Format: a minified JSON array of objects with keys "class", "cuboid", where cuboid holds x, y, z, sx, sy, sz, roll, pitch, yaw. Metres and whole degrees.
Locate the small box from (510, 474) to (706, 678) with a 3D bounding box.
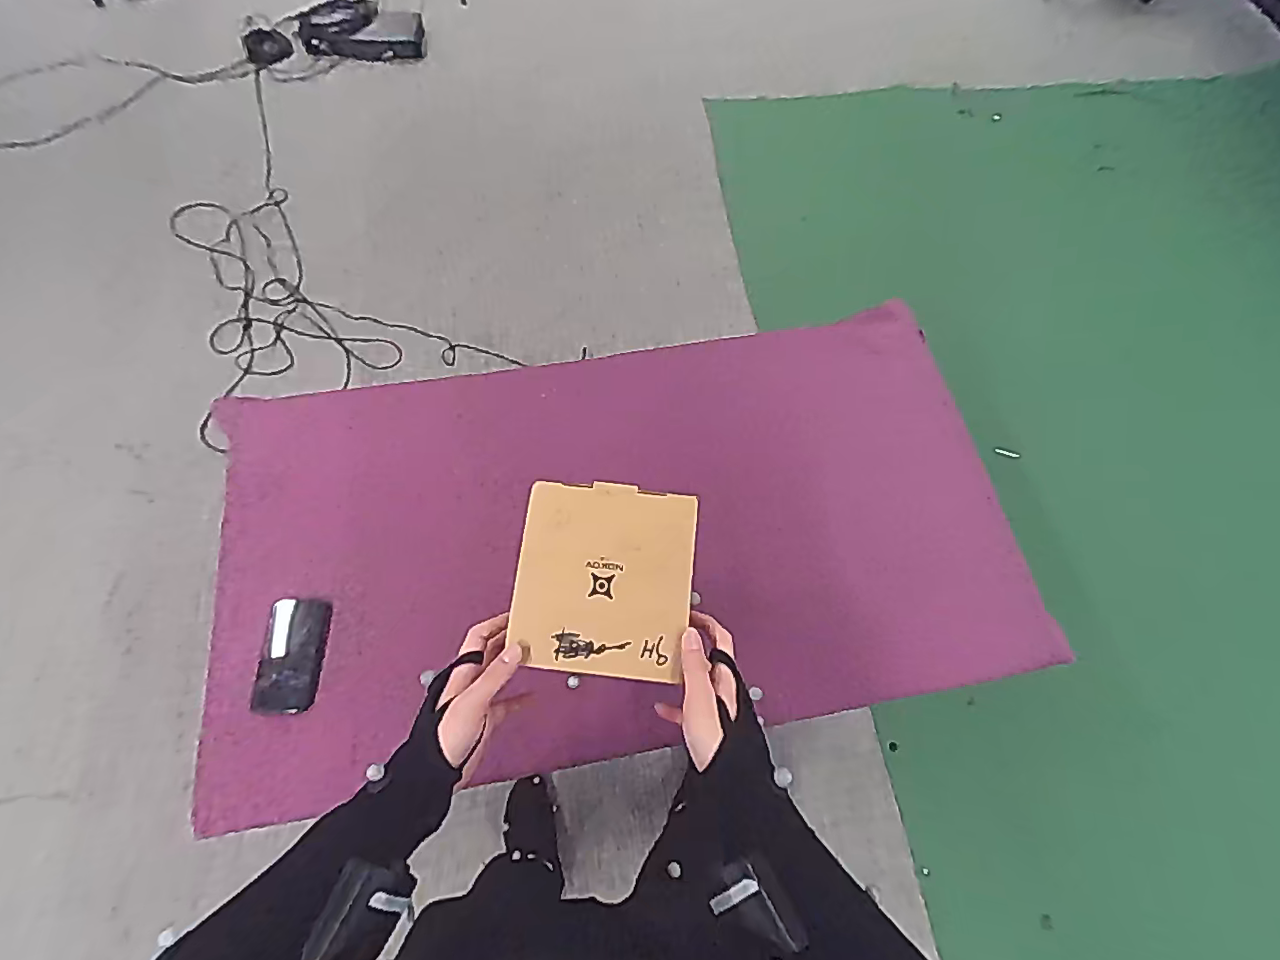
[{"class":"small box","cuboid":[-0.025,0.109,0.581,0.168,0.176,0.179,6,73,4]}]
